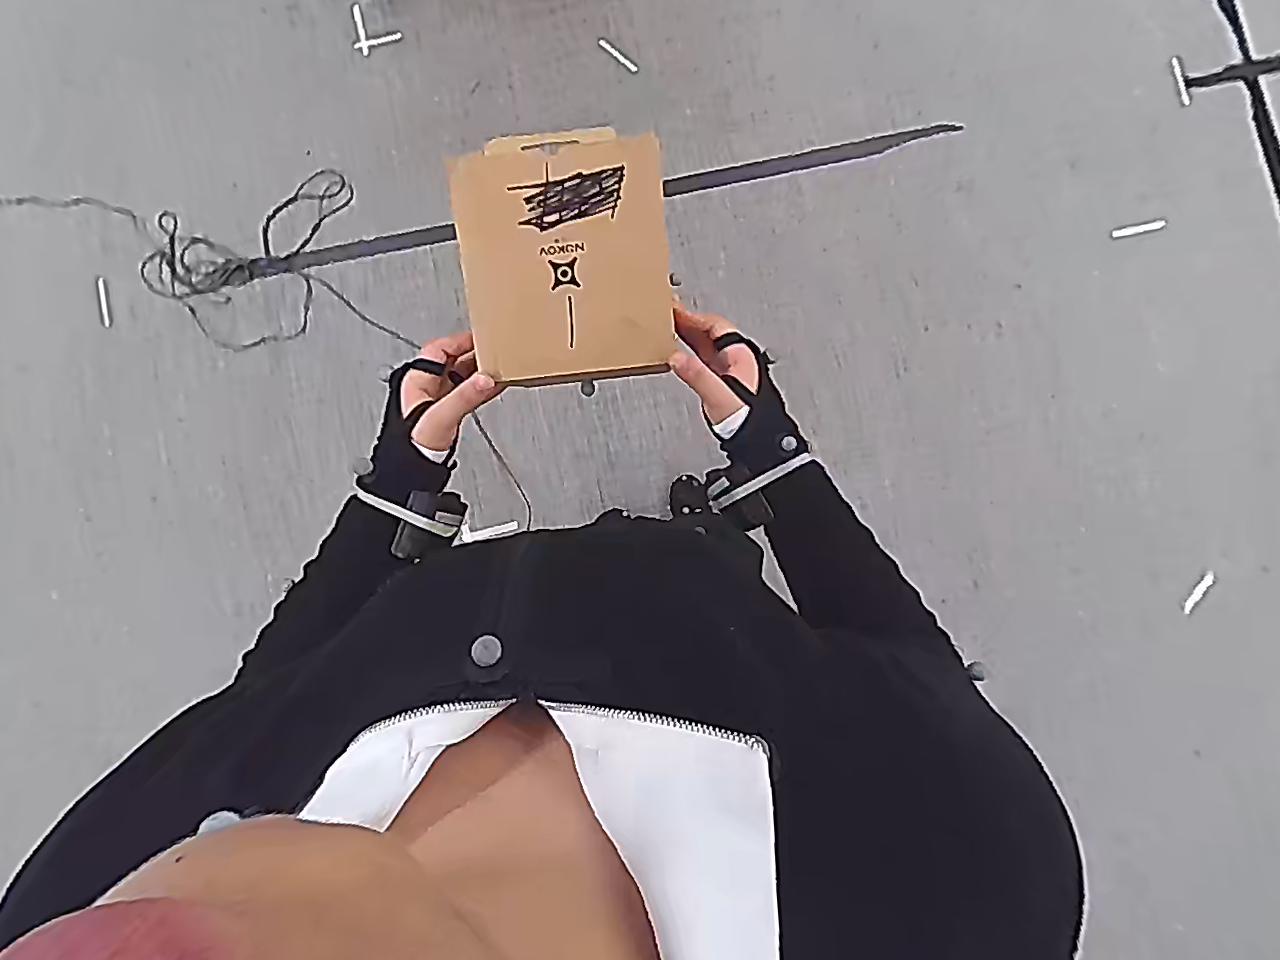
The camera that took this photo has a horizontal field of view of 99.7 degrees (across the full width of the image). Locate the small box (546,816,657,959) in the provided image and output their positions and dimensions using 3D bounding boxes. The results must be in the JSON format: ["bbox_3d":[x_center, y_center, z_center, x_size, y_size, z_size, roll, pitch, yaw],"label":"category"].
[{"bbox_3d":[-0.069,0.774,1.027,0.179,0.176,0.168,-10,88,-1],"label":"small box"}]

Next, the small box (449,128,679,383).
[{"bbox_3d":[-0.058,-0.187,0.504,0.168,0.176,0.179,-6,99,2],"label":"small box"}]
